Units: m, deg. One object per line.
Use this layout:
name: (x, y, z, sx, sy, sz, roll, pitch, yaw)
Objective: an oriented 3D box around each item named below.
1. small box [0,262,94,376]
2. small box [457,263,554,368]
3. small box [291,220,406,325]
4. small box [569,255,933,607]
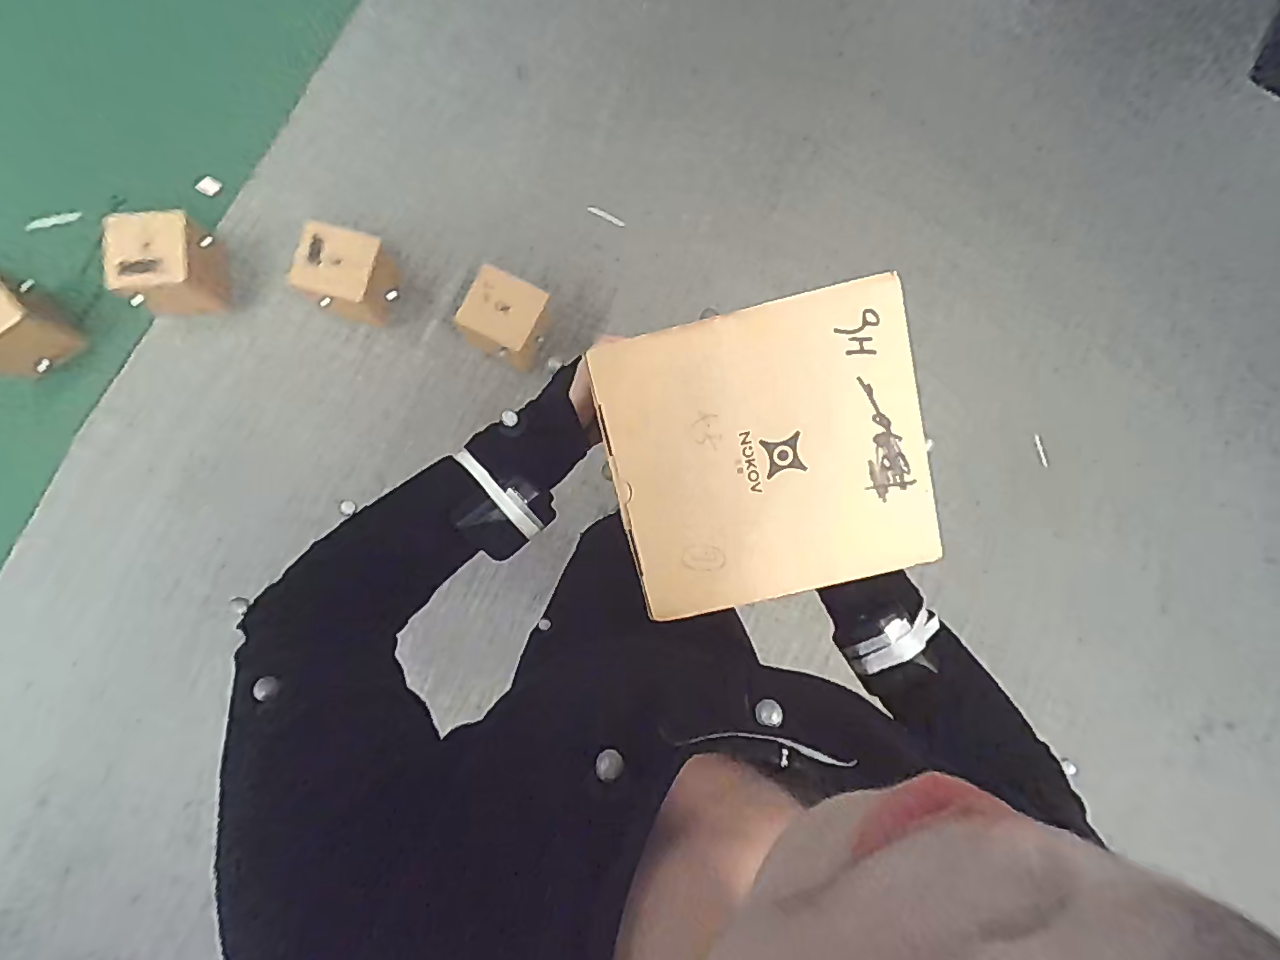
small box: (-1.465, -0.372, 1.261, 0.168, 0.176, 0.179, -40, 88, -8)
small box: (-0.330, -0.405, 1.370, 0.179, 0.176, 0.168, 26, 81, -2)
small box: (-0.714, -0.506, 1.345, 0.179, 0.176, 0.168, 14, 83, -4)
small box: (0.067, -0.033, 0.378, 0.179, 0.176, 0.168, -14, 99, 4)
